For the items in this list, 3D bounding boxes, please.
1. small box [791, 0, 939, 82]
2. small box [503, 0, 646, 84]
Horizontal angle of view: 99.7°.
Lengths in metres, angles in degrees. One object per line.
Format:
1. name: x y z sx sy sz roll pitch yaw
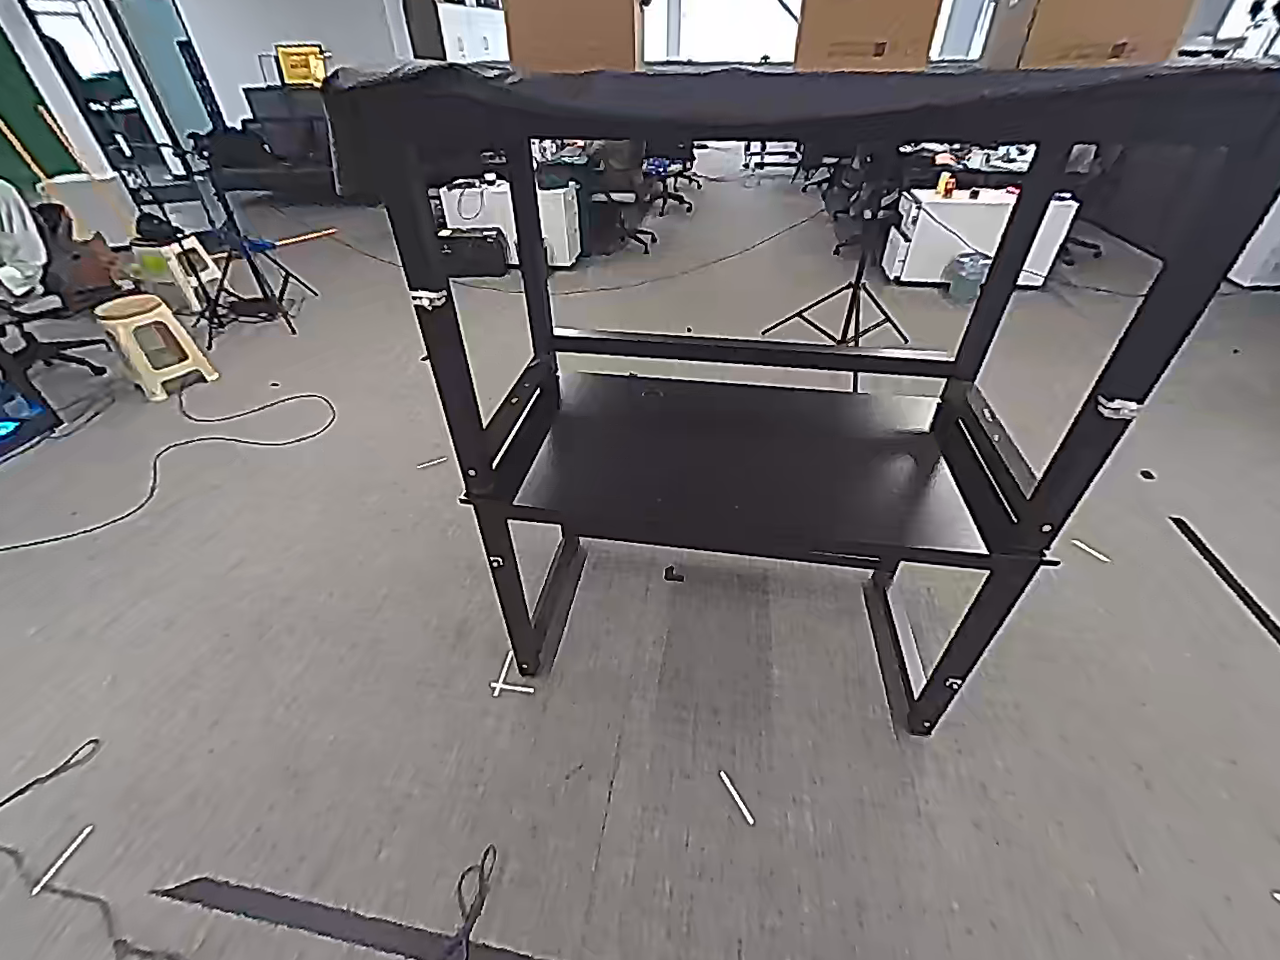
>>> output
1. small box: 0.298 -0.637 0.717 0.168 0.176 0.179 7 38 10
2. small box: -0.084 -0.659 0.749 0.179 0.176 0.168 2 37 4
